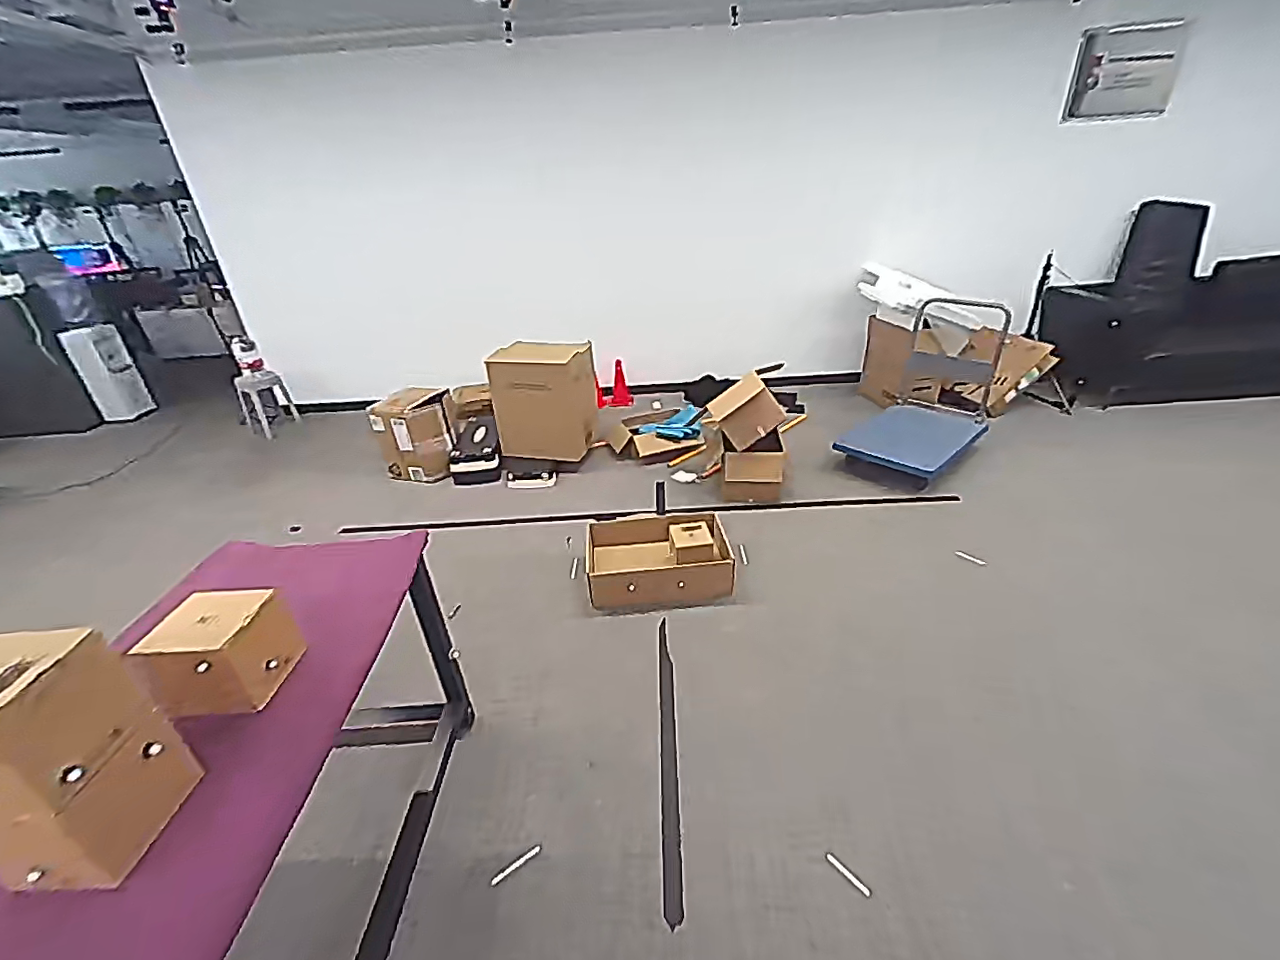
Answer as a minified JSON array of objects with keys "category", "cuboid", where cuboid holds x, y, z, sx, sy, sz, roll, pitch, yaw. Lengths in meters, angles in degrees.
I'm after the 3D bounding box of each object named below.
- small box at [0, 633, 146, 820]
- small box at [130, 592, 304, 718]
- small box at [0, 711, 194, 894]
[{"category":"small box","cuboid":[-0.841,0.331,0.729,0.179,0.176,0.168,-5,28,1]},{"category":"small box","cuboid":[-0.808,0.341,1.054,0.179,0.176,0.168,-4,28,2]},{"category":"small box","cuboid":[-0.822,0.475,0.806,0.168,0.176,0.179,-4,28,3]}]
